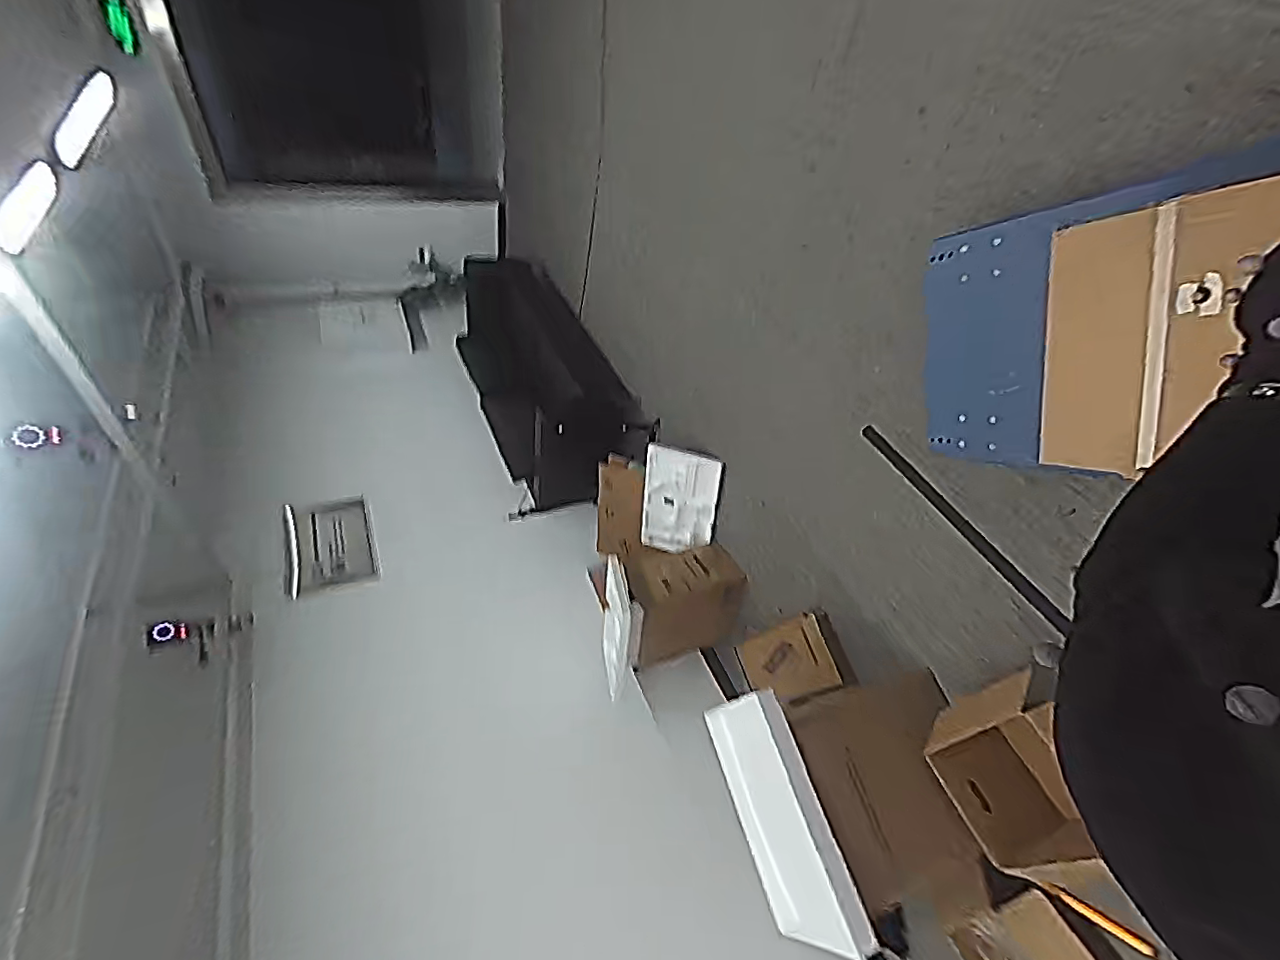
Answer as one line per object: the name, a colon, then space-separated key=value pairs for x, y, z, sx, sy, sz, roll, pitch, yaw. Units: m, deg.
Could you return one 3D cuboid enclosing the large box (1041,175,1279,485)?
large box: x=0.912 y=-0.229 z=0.872 sx=0.320 sy=0.320 sz=0.408 roll=19 pitch=117 yaw=63
